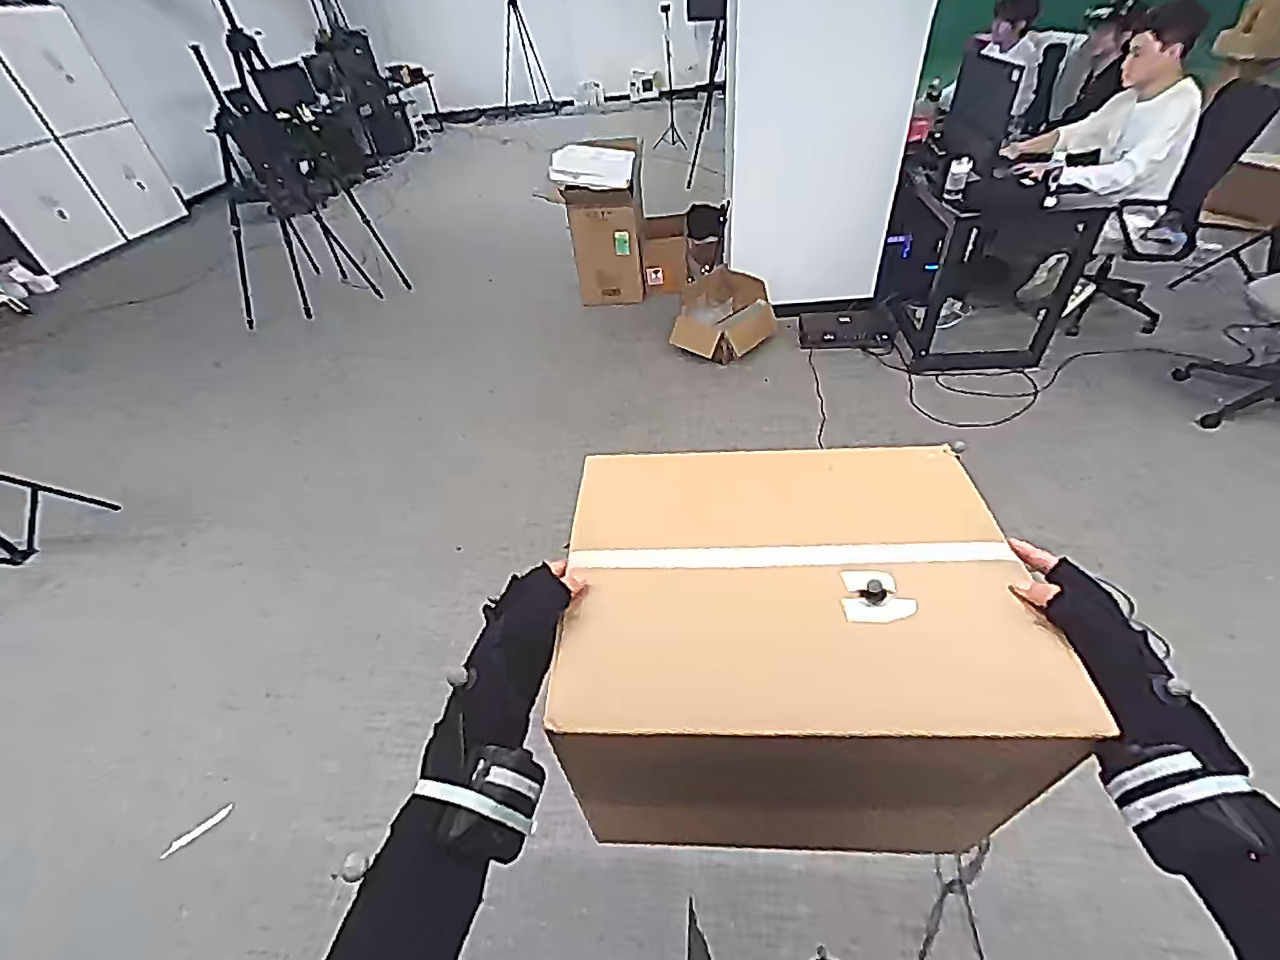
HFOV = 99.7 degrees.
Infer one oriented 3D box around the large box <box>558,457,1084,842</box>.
[{"bbox_3d":[0.144,0.192,0.617,0.408,0.320,0.320,-1,43,4],"label":"large box"}]
